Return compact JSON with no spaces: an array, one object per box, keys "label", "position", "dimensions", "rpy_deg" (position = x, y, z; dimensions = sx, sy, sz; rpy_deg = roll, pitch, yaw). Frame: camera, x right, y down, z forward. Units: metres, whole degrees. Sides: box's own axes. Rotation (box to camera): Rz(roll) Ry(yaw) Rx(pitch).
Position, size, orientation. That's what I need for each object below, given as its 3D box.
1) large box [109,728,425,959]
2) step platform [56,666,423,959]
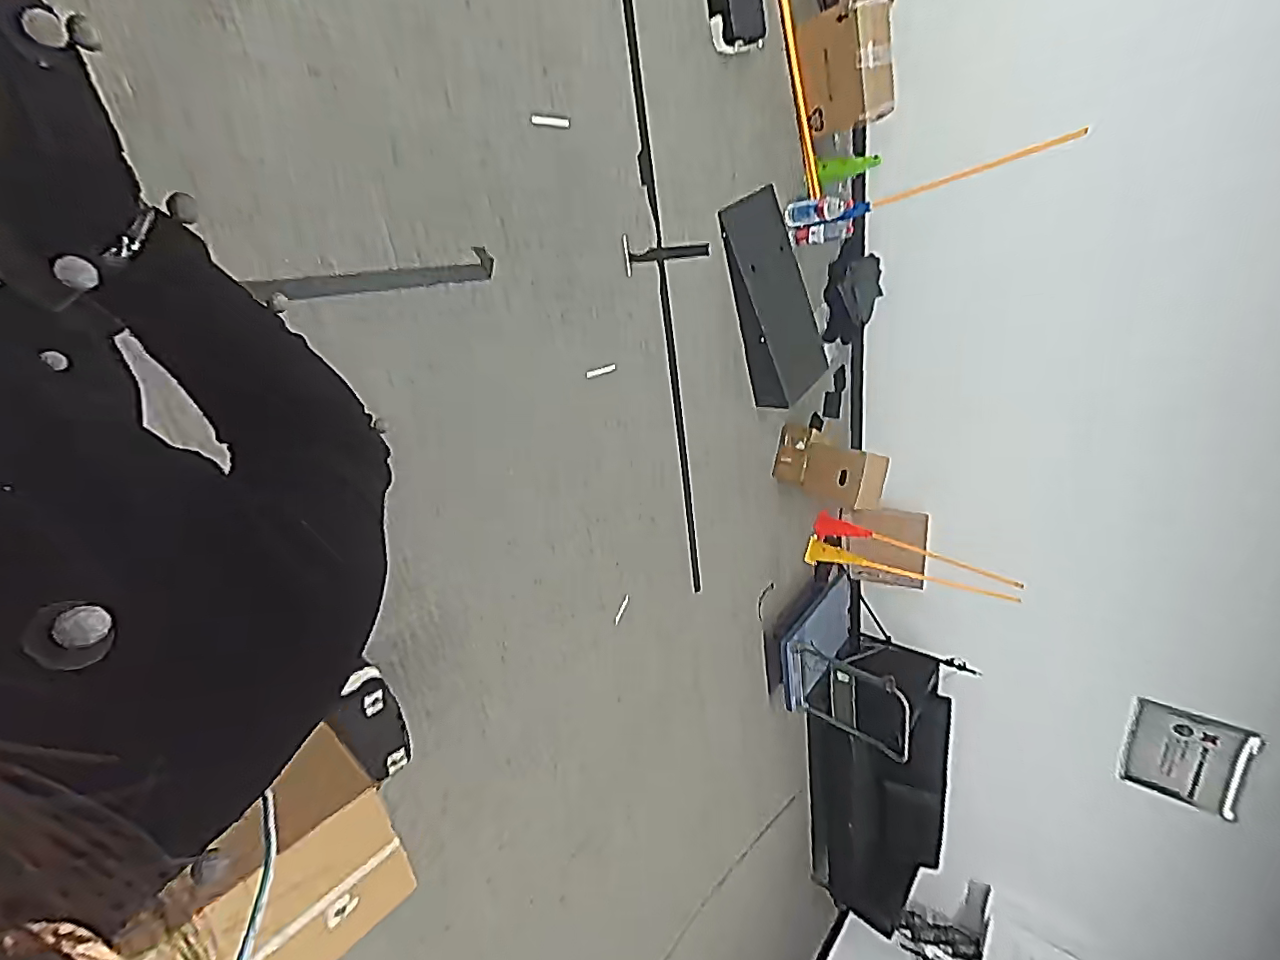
[{"label":"large box","position":[-0.734,0.806,1.098],"dimensions":[0.408,0.320,0.320],"rpy_deg":[-29,119,-43]},{"label":"step platform","position":[-0.877,0.738,1.285],"dimensions":[0.684,0.204,0.286],"rpy_deg":[-21,113,-45]}]
